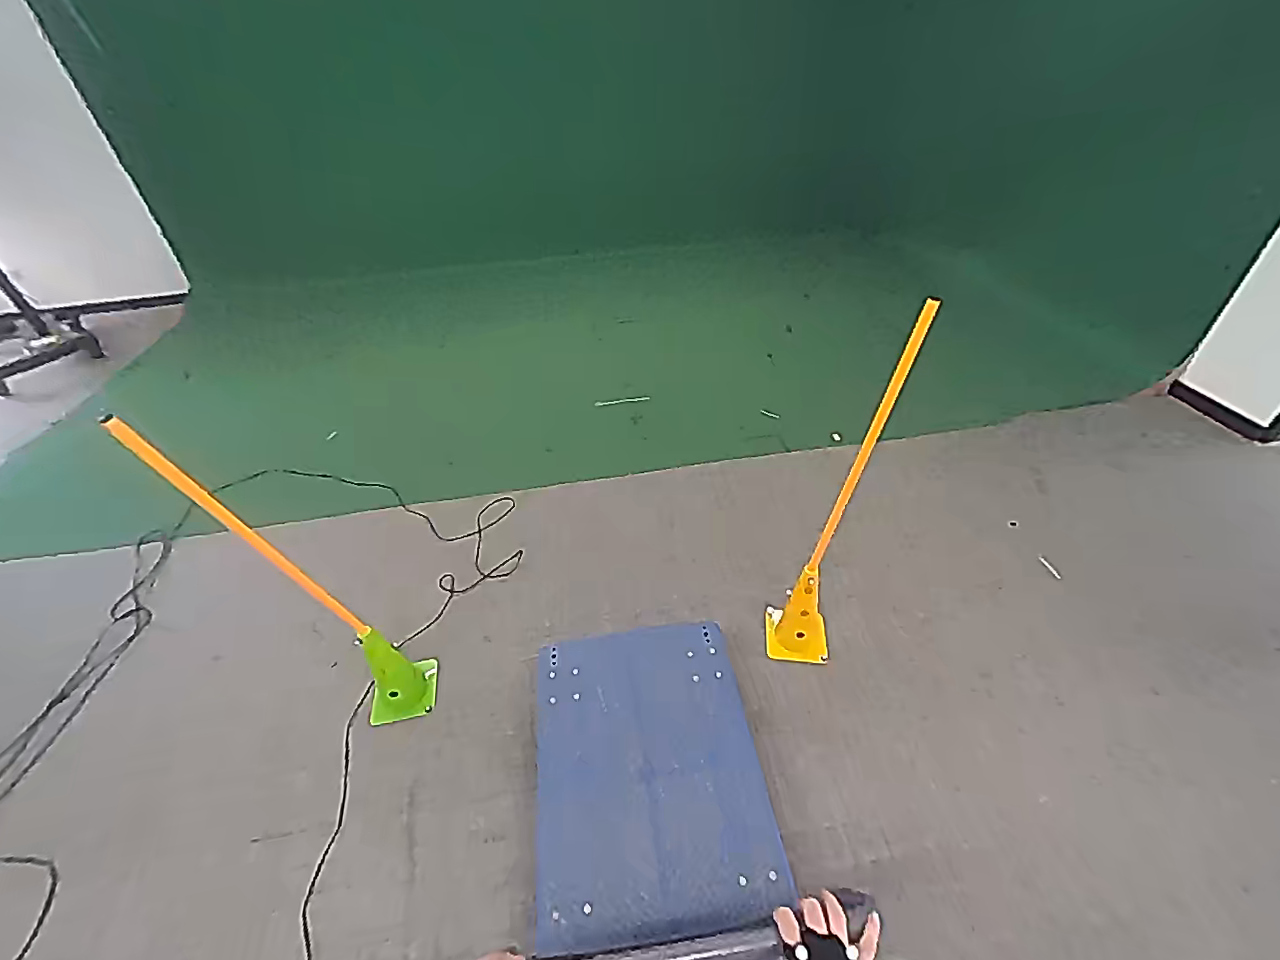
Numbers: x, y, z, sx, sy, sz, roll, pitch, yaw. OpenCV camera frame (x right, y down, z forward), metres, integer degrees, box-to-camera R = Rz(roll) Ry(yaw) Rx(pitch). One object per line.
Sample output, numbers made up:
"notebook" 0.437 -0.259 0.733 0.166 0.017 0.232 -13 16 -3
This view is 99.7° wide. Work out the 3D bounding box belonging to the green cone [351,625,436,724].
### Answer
"green cone" -0.795 0.565 1.677 0.202 0.368 0.200 -12 41 -6
